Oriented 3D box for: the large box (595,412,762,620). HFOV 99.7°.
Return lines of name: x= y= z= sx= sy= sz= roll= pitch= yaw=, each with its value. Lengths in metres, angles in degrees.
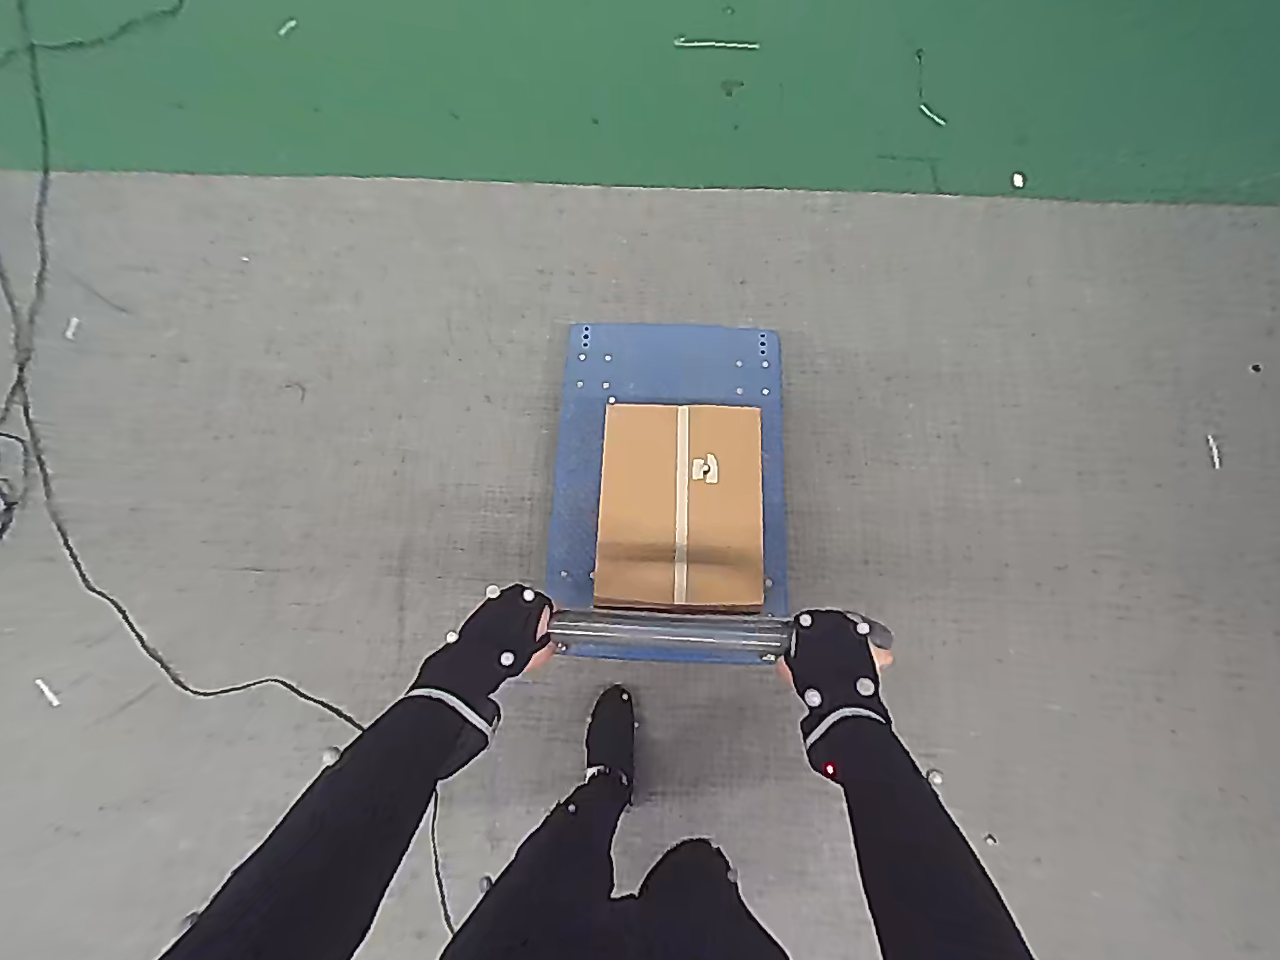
large box: x=0.081 y=0.097 z=1.195 sx=0.320 sy=0.320 sz=0.408 roll=2 pitch=73 yaw=1
